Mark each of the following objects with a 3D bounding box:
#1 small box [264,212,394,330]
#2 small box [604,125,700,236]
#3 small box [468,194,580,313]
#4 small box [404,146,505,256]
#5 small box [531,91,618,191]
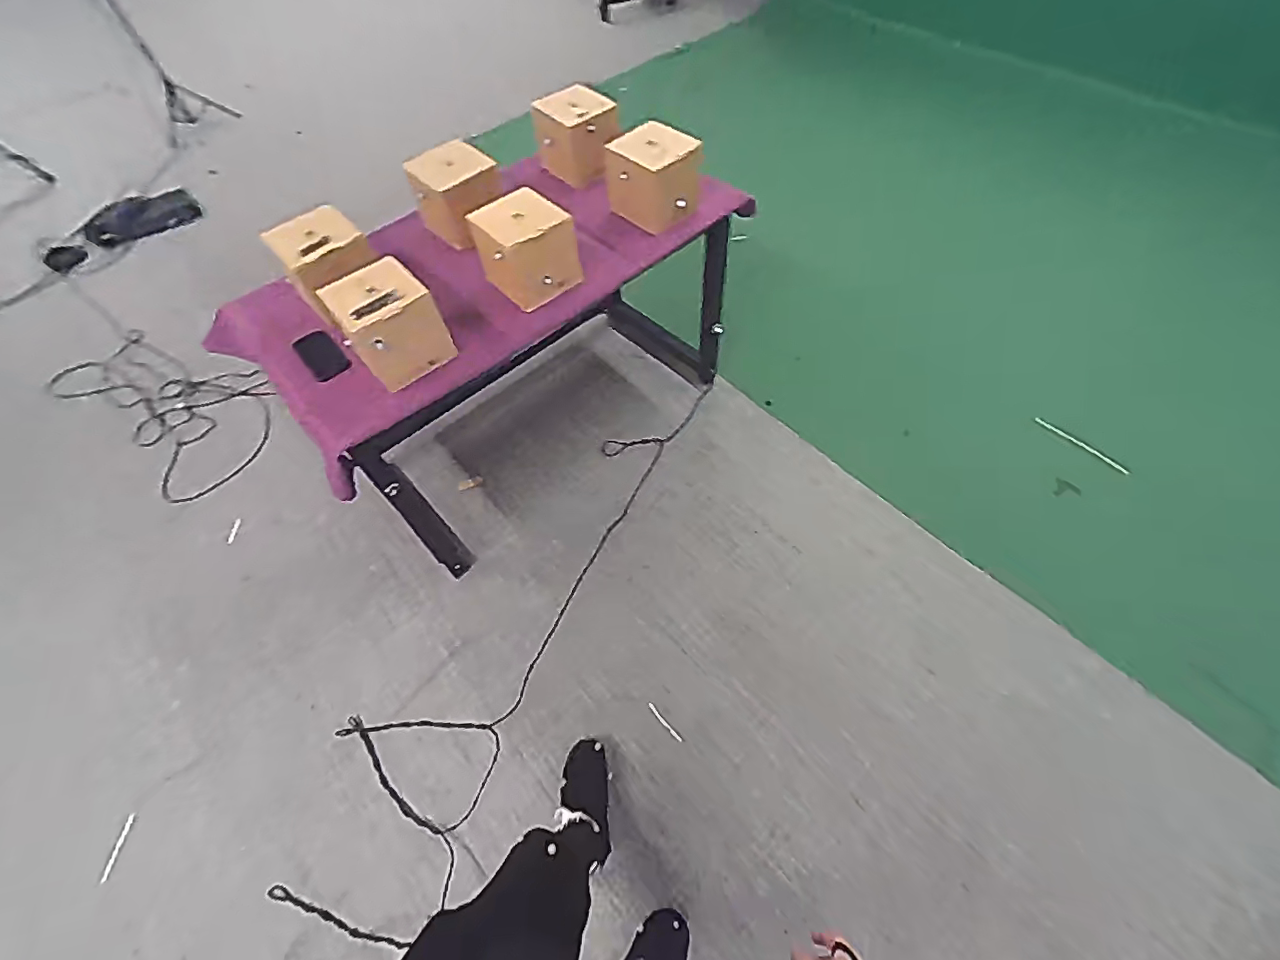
[{"bbox_3d":[-0.708,-0.475,1.250,0.168,0.176,0.179,-40,63,-20],"label":"small box"},{"bbox_3d":[0.033,-0.756,1.372,0.168,0.176,0.179,-41,64,-18],"label":"small box"},{"bbox_3d":[-0.261,-0.519,1.248,0.168,0.176,0.179,-38,62,-18],"label":"small box"},{"bbox_3d":[-0.461,-0.709,1.383,0.168,0.176,0.179,-40,64,-19],"label":"small box"},{"bbox_3d":[-0.175,-0.941,1.508,0.168,0.176,0.179,-38,63,-18],"label":"small box"}]
